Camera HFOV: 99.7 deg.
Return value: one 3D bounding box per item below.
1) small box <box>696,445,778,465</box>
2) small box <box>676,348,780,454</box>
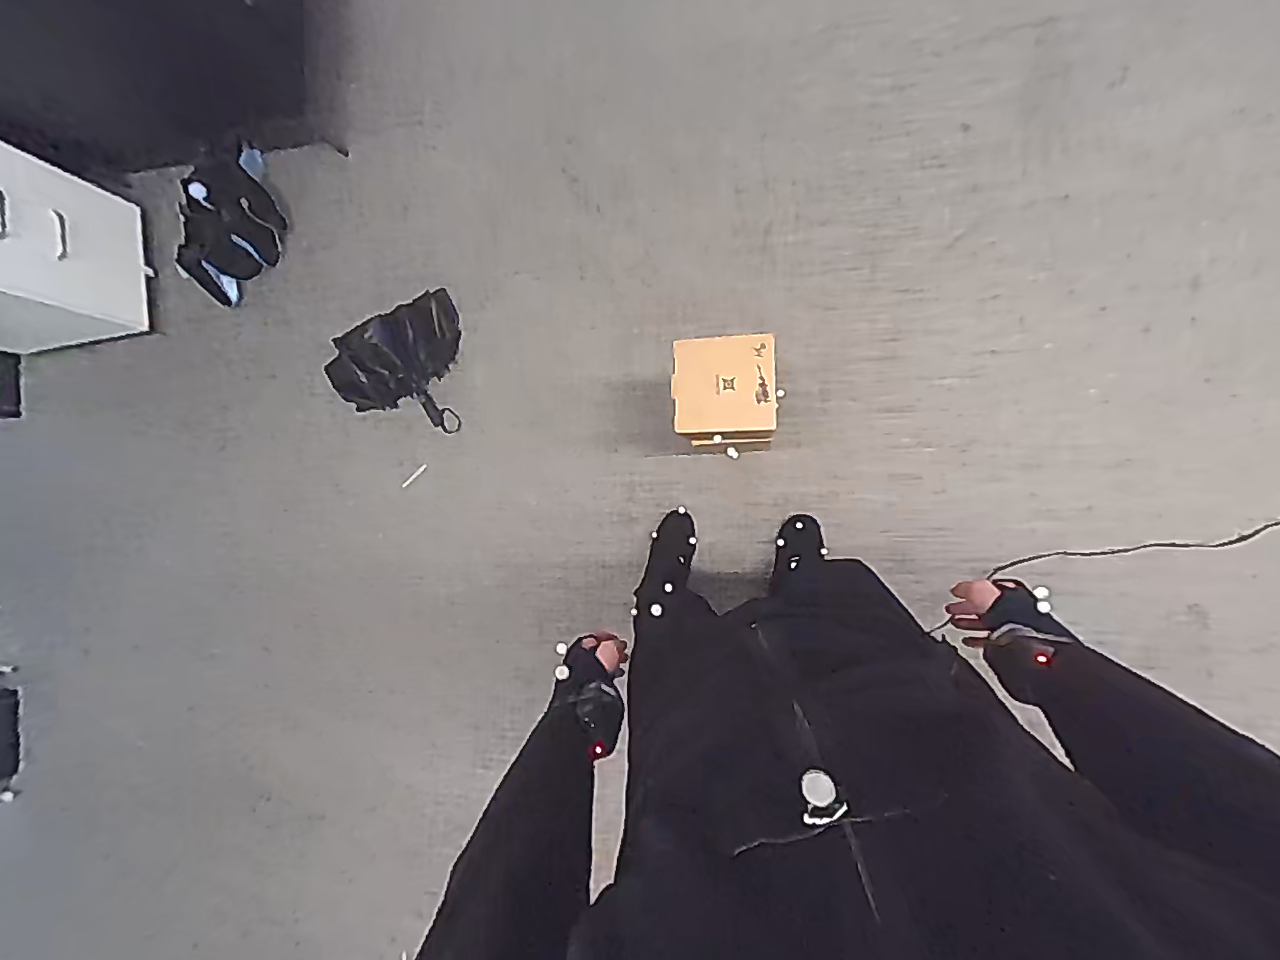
[{"bbox_3d":[0.207,-0.129,1.167,0.168,0.176,0.179,-4,88,12],"label":"small box"},{"bbox_3d":[0.169,-0.138,1.008,0.179,0.176,0.168,-2,88,13],"label":"small box"}]
